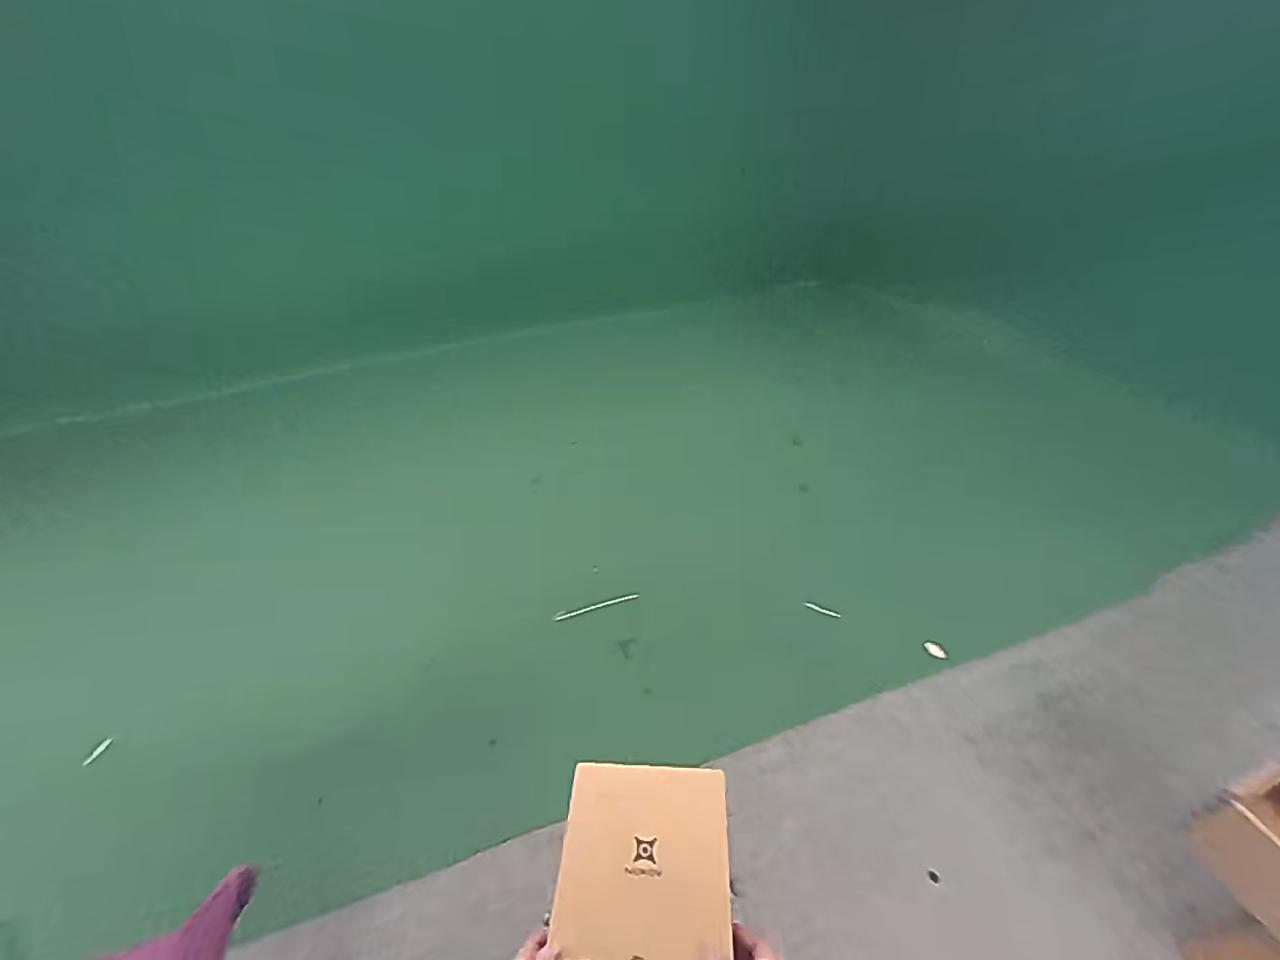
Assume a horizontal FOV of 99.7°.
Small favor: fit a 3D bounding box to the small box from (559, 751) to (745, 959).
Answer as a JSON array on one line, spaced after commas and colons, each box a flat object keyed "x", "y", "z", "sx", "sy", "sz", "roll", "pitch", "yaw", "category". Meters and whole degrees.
[{"x": 0.019, "y": 0.423, "z": 0.578, "sx": 0.168, "sy": 0.176, "sz": 0.179, "roll": 1, "pitch": 37, "yaw": 5, "category": "small box"}]
